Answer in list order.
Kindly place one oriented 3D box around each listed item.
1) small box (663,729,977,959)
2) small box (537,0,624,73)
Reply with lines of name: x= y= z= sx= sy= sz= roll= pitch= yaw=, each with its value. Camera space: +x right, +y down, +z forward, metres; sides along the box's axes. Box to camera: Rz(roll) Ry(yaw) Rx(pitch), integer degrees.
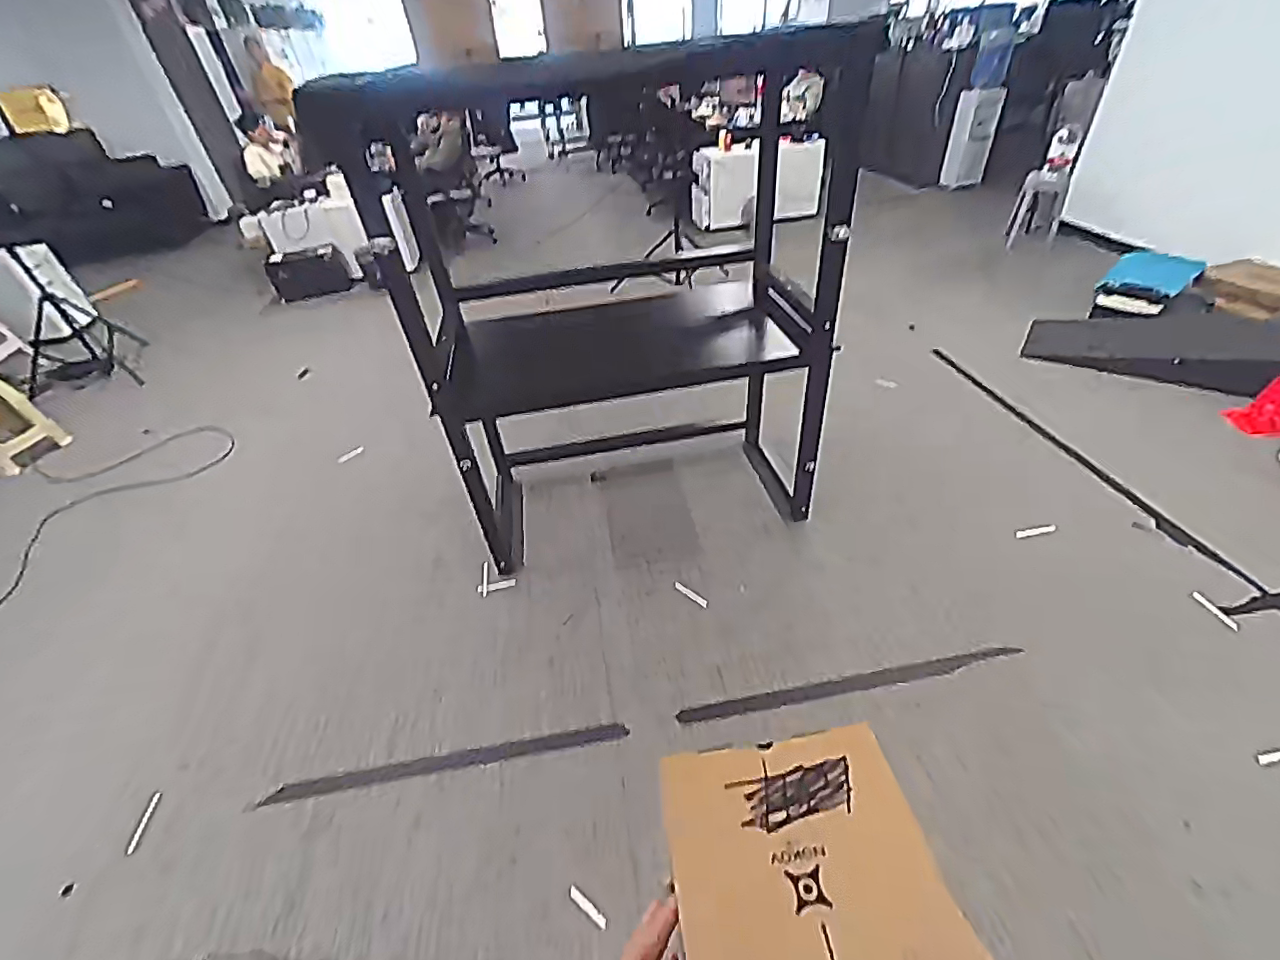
small box: x=0.110 y=0.315 z=0.390 sx=0.168 sy=0.176 sz=0.179 roll=-8 pitch=37 yaw=-3
small box: x=-0.131 y=-0.988 z=1.160 sx=0.168 sy=0.176 sz=0.179 roll=-9 pitch=38 yaw=-5
